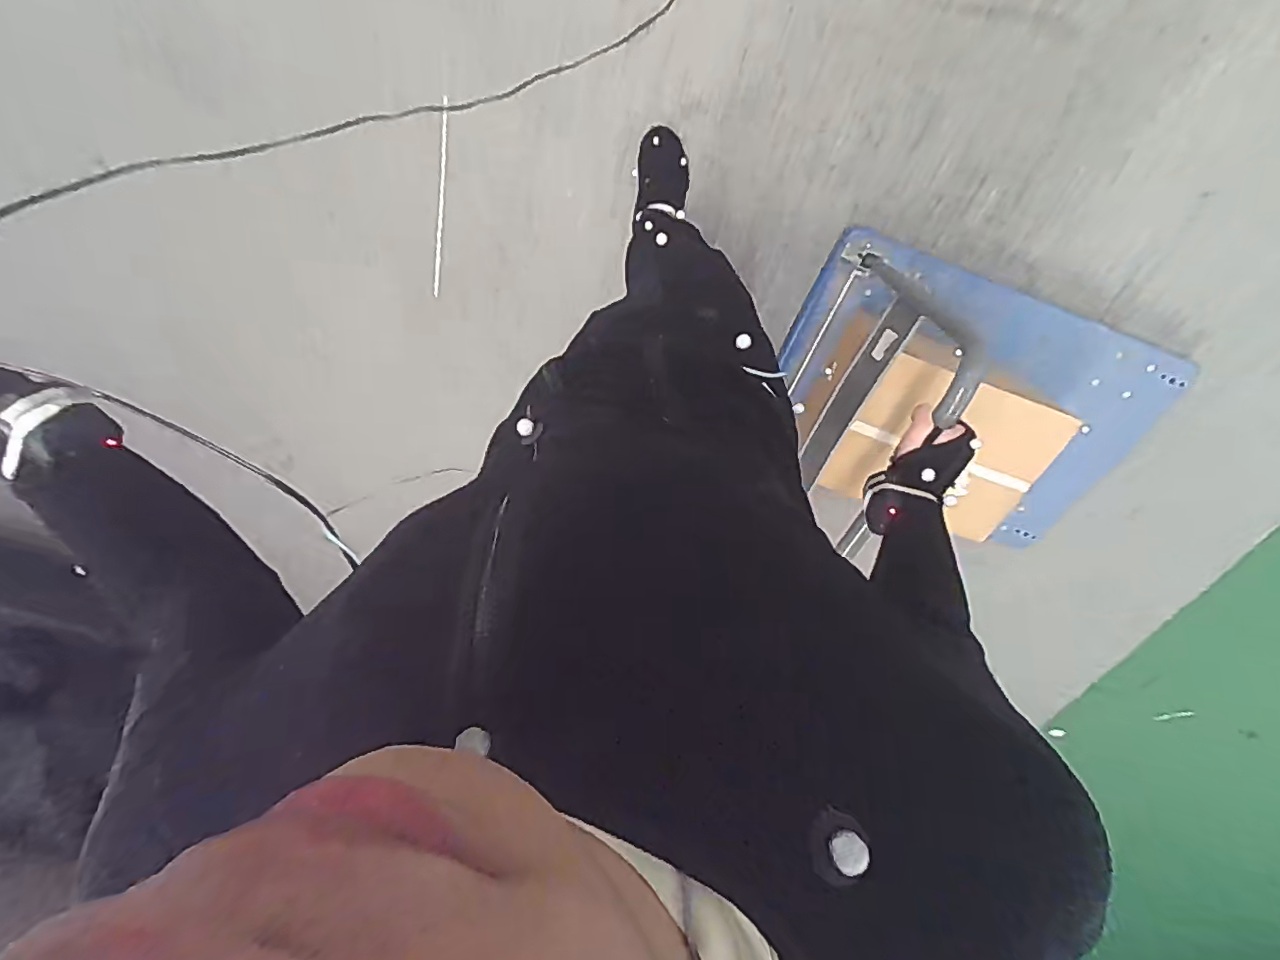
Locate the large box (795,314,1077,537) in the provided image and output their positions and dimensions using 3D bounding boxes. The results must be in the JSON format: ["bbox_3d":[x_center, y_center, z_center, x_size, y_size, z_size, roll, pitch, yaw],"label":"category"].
[{"bbox_3d":[0.612,-0.133,1.212,0.408,0.320,0.320,19,122,-3],"label":"large box"}]
